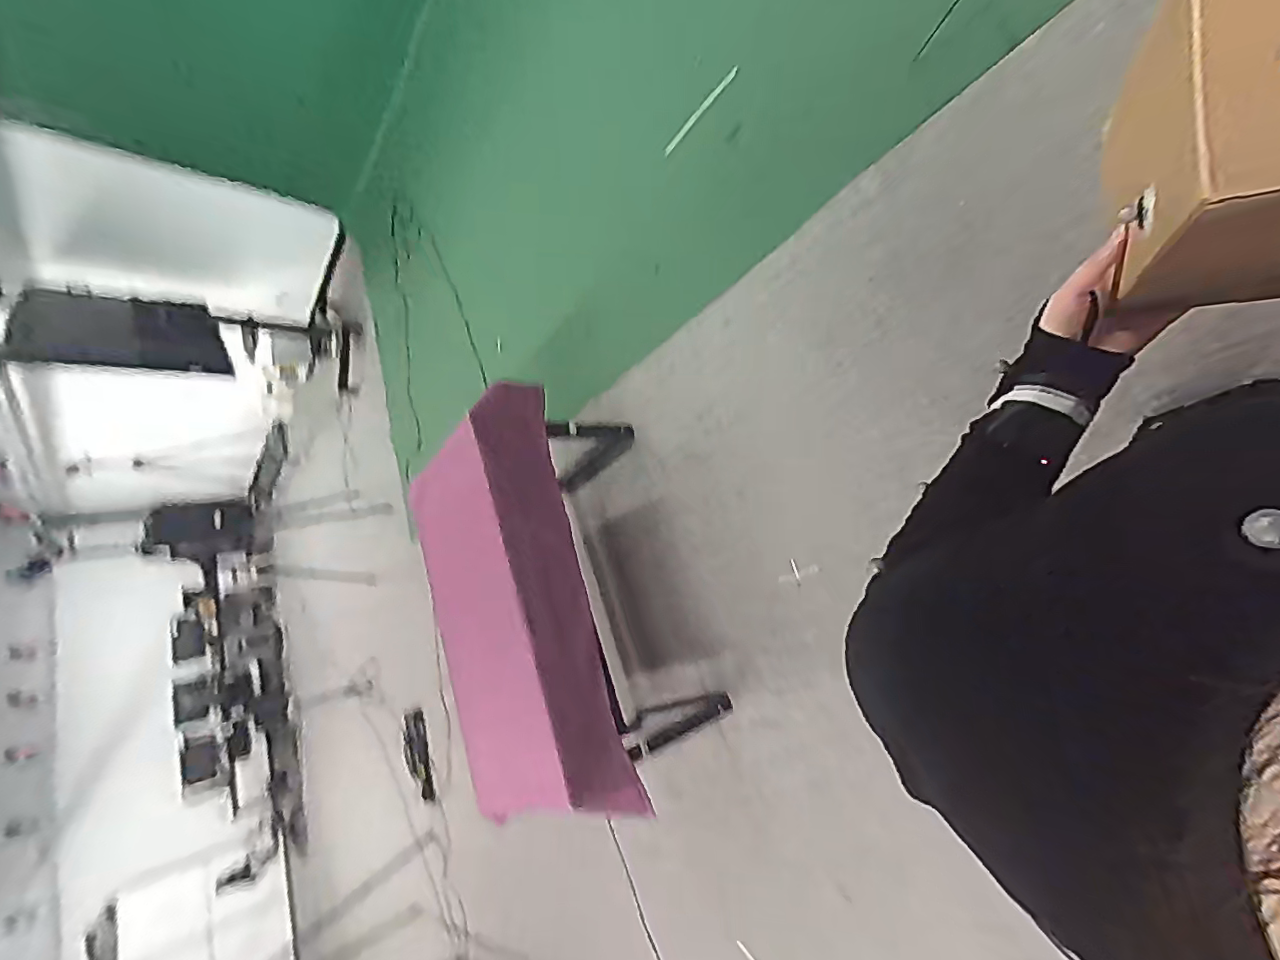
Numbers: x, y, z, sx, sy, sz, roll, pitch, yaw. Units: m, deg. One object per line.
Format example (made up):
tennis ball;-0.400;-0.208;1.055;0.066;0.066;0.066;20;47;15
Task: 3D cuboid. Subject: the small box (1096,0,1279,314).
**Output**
small box;0.420;-0.230;0.349;0.168;0.179;0.176;0;85;27
